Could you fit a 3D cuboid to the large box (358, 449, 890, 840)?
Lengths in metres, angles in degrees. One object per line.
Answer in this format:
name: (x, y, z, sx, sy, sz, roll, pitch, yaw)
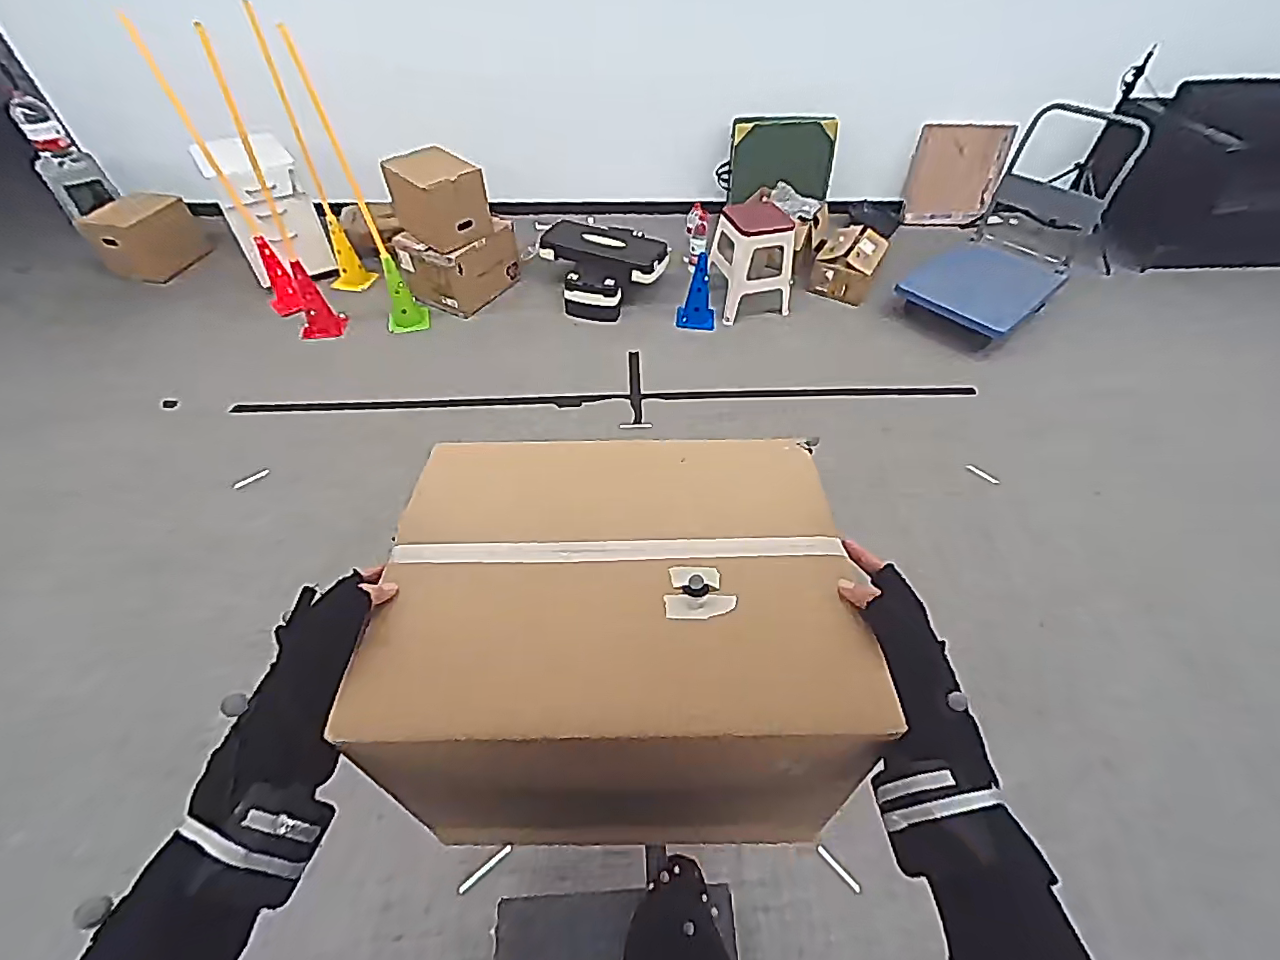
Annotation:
large box: (-0.014, 0.181, 0.605, 0.408, 0.320, 0.320, -1, 45, 0)
